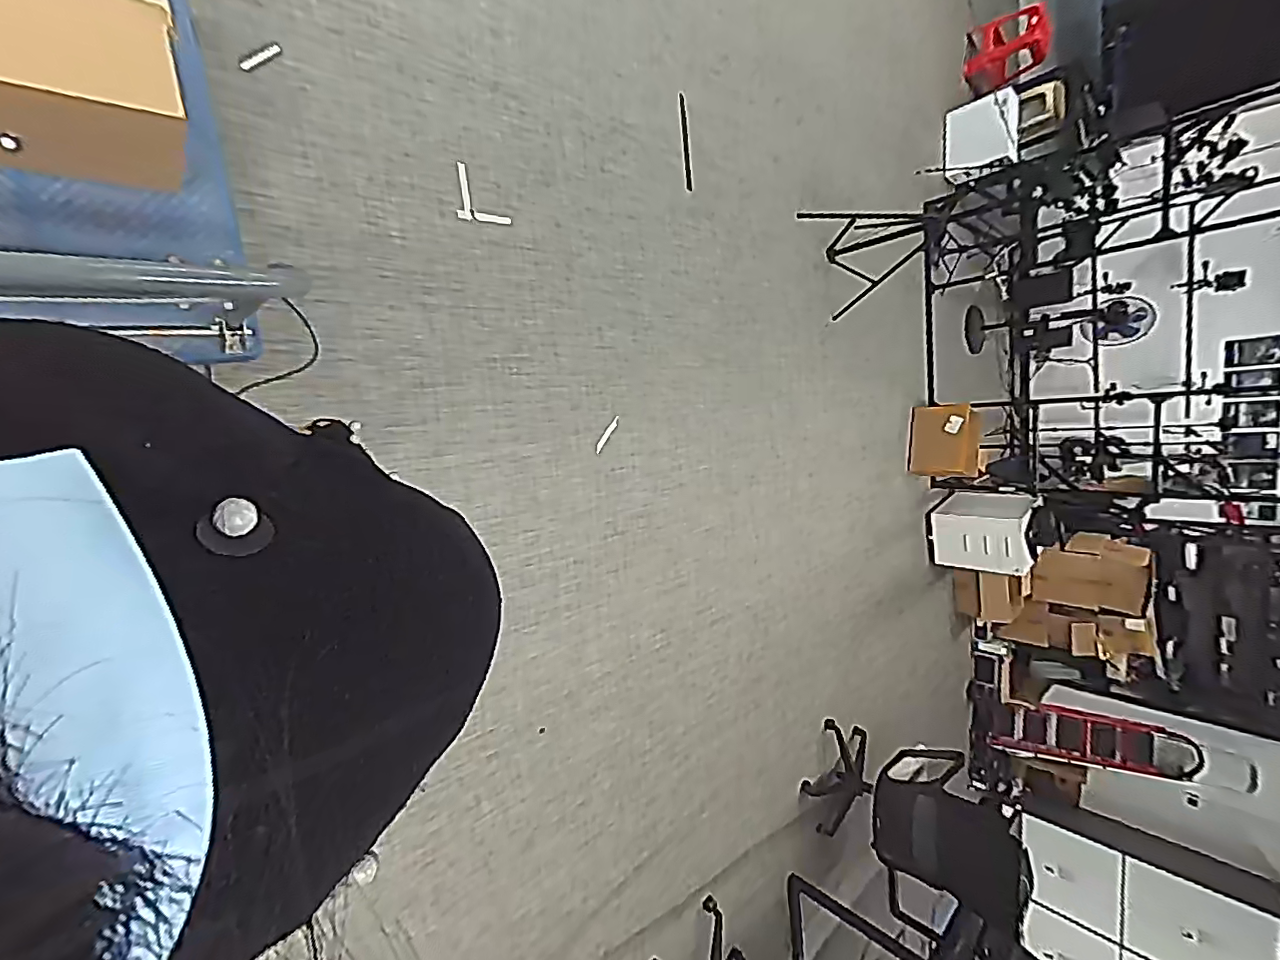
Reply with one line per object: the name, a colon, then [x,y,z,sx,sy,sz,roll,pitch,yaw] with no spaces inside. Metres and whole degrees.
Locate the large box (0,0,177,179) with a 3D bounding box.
large box: [-0.952,-0.669,0.765,0.408,0.320,0.320,-13,100,-40]
